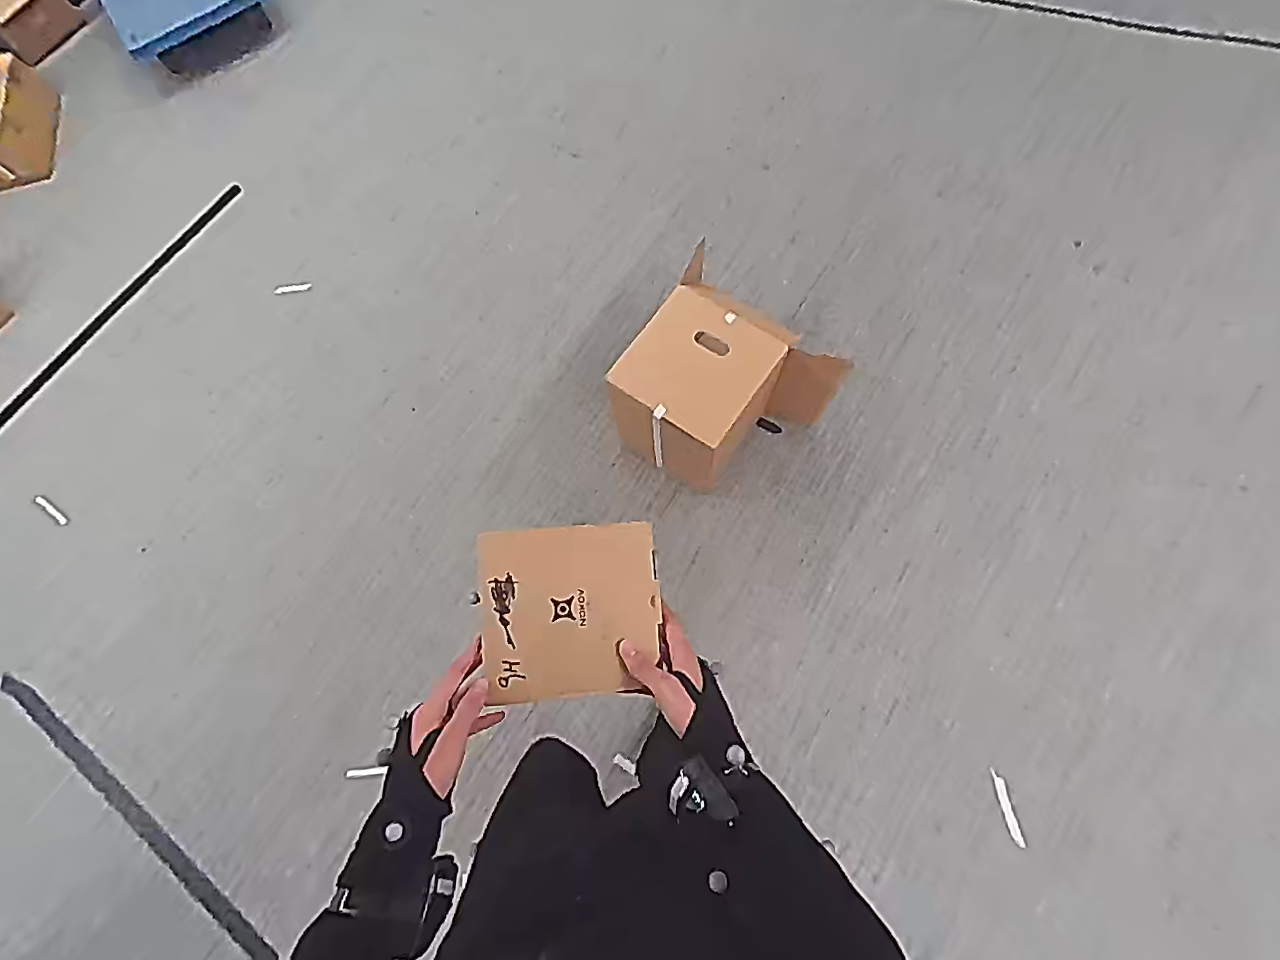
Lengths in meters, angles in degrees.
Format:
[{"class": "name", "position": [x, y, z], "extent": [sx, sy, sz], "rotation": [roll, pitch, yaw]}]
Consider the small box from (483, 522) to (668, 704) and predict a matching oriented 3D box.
[{"class": "small box", "position": [-0.076, 0.135, 0.603], "extent": [0.179, 0.176, 0.168], "rotation": [-3, 82, -10]}]
